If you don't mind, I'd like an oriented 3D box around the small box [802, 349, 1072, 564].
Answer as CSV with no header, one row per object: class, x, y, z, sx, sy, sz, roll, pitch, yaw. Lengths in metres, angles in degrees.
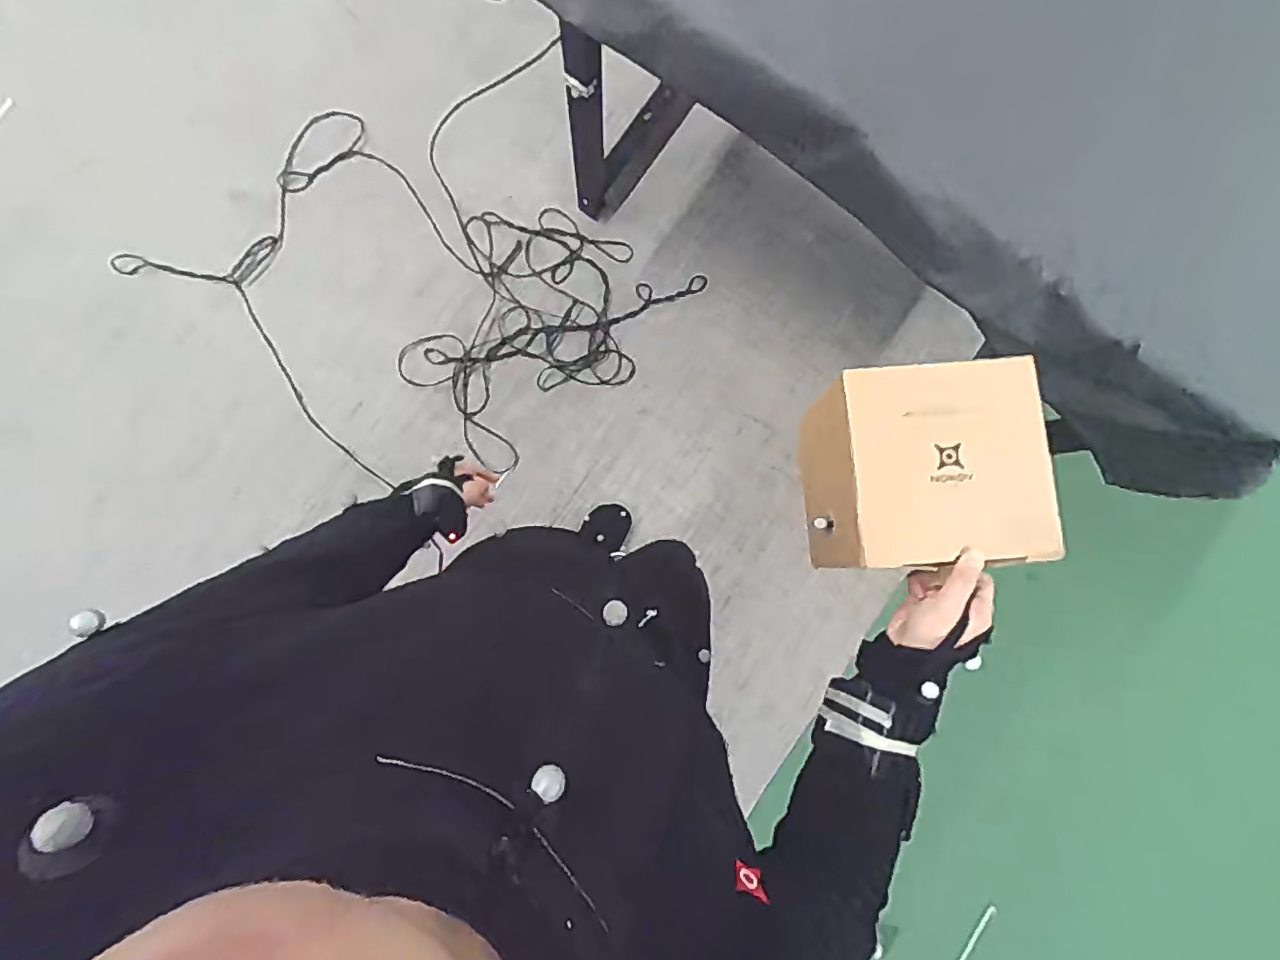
small box,0.270,-0.011,0.536,0.168,0.176,0.179,-5,81,1
